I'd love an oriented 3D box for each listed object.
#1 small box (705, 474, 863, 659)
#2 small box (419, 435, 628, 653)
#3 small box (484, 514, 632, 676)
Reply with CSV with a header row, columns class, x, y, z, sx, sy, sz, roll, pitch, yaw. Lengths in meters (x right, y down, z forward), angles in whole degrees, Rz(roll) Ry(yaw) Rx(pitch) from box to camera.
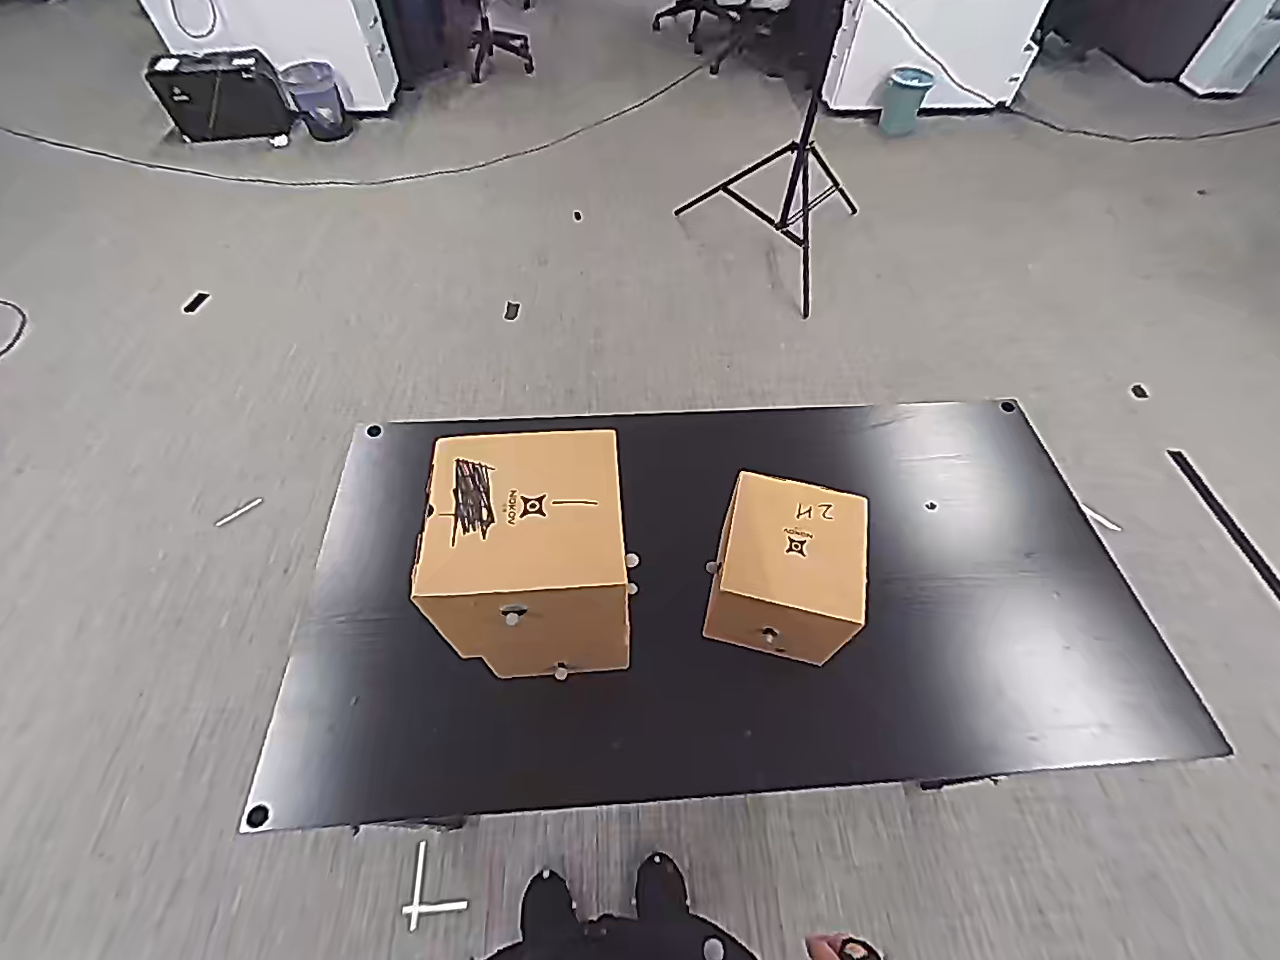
class,x,y,z,sx,sy,sz,roll,pitch,yaw
small box,0.188,0.123,0.731,0.168,0.176,0.179,13,56,7
small box,-0.104,0.072,0.560,0.179,0.176,0.168,-3,56,-4
small box,-0.106,0.149,0.708,0.179,0.176,0.168,-3,56,-4
